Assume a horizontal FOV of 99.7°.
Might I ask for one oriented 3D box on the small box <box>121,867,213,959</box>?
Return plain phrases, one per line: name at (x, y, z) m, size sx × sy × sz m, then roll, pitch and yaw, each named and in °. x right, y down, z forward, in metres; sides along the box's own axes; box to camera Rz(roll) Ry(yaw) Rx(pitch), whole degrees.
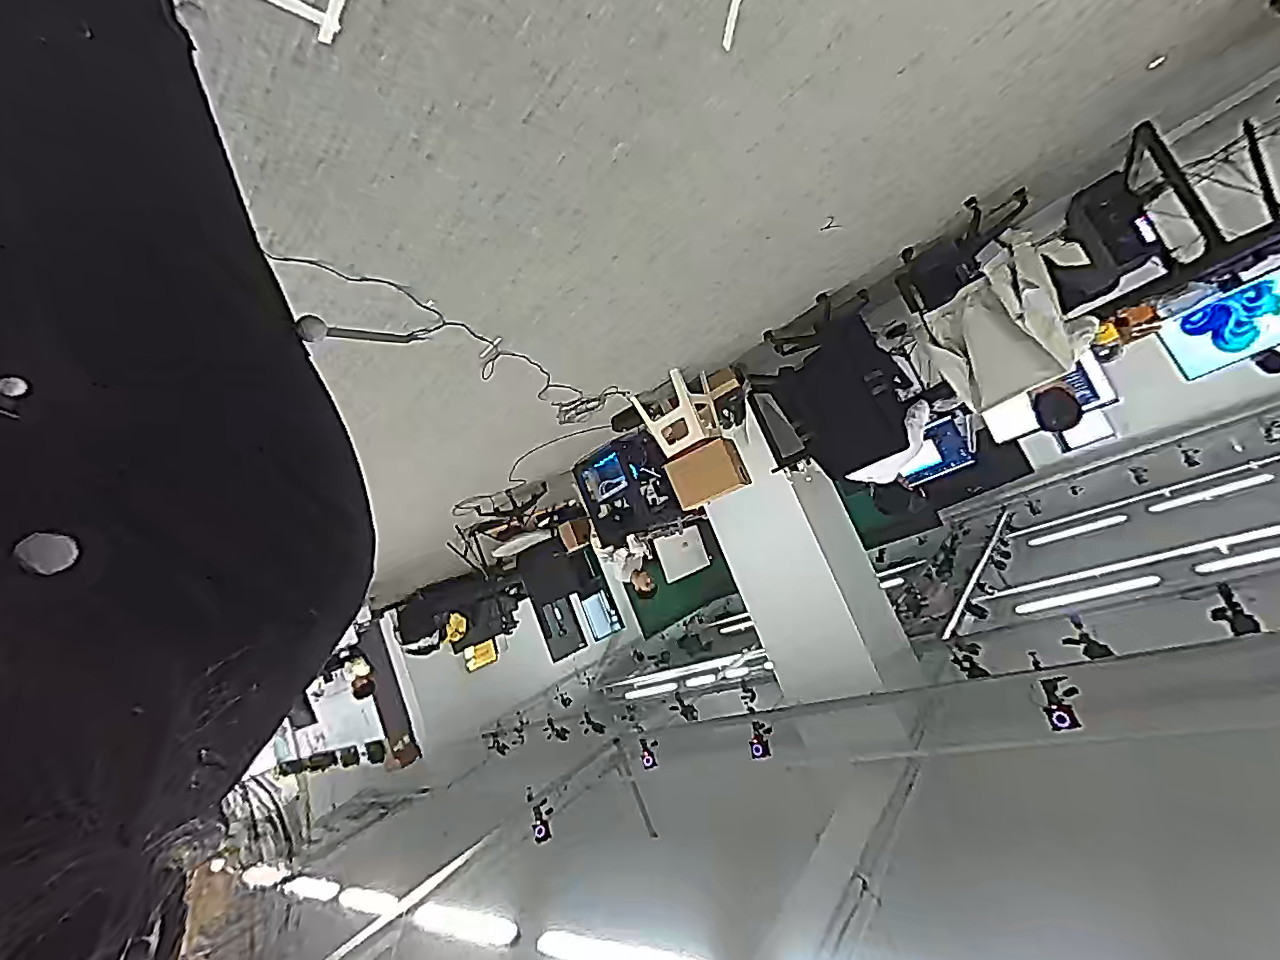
small box at (-1.473, 1.345, 1.679) m, size 0.168 × 0.176 × 0.179 m, roll -28°, pitch 169°, yaw 35°
